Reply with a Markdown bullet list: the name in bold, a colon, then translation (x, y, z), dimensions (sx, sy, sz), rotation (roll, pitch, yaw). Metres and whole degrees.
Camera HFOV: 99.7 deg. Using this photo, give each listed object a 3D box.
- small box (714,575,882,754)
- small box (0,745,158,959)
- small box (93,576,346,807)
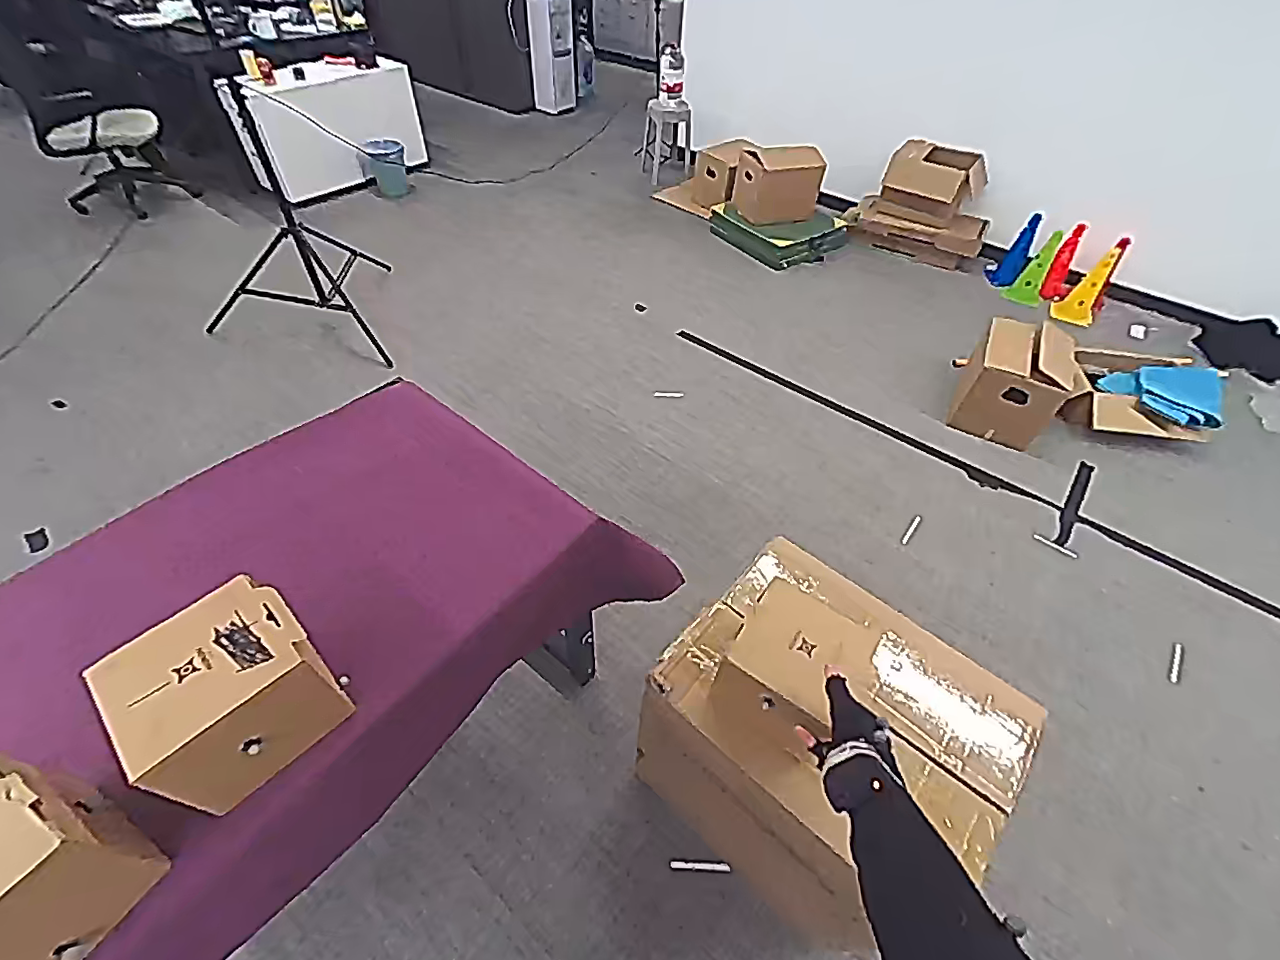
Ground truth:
- **small box**: translation (0.230, 0.285, 0.828), dimensions (0.179, 0.176, 0.168), rotation (30, 56, 20)
- **small box**: translation (-0.638, 0.407, 0.534), dimensions (0.168, 0.176, 0.179), rotation (23, 50, 18)
- **small box**: translation (-0.497, 0.261, 0.671), dimensions (0.168, 0.176, 0.179), rotation (36, 56, 26)
